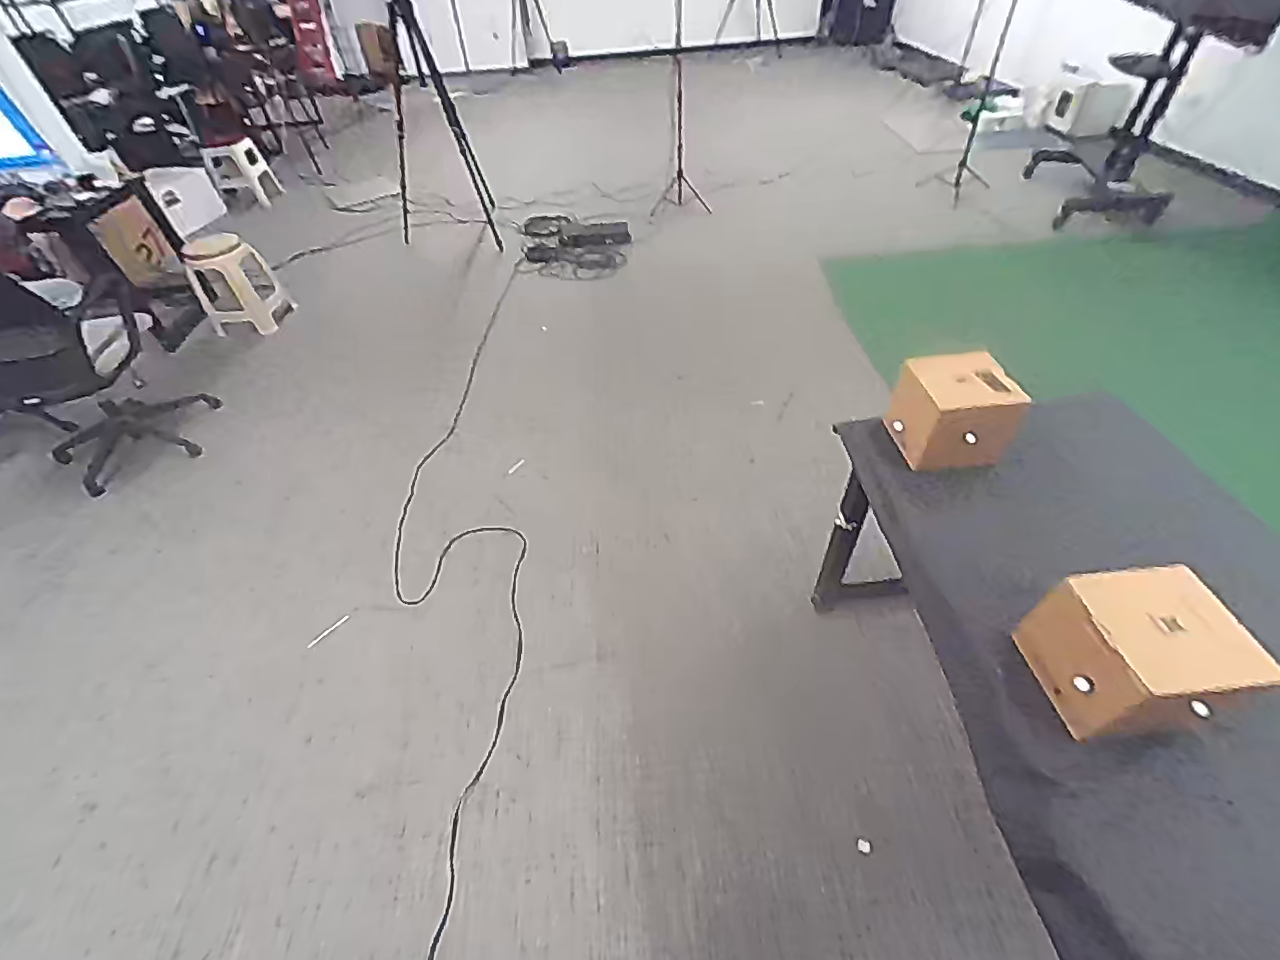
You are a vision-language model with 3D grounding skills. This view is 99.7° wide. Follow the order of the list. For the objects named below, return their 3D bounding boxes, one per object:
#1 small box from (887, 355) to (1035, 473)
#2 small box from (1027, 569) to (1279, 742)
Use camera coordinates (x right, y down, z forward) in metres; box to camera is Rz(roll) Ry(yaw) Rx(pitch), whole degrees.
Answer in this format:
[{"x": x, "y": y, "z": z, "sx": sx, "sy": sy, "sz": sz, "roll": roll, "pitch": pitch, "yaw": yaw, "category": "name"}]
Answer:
[{"x": 0.637, "y": -0.132, "z": 1.100, "sx": 0.179, "sy": 0.176, "sz": 0.168, "roll": -5, "pitch": 46, "yaw": -1, "category": "small box"}, {"x": 0.675, "y": 0.242, "z": 0.738, "sx": 0.179, "sy": 0.176, "sz": 0.168, "roll": -4, "pitch": 47, "yaw": -2, "category": "small box"}]
